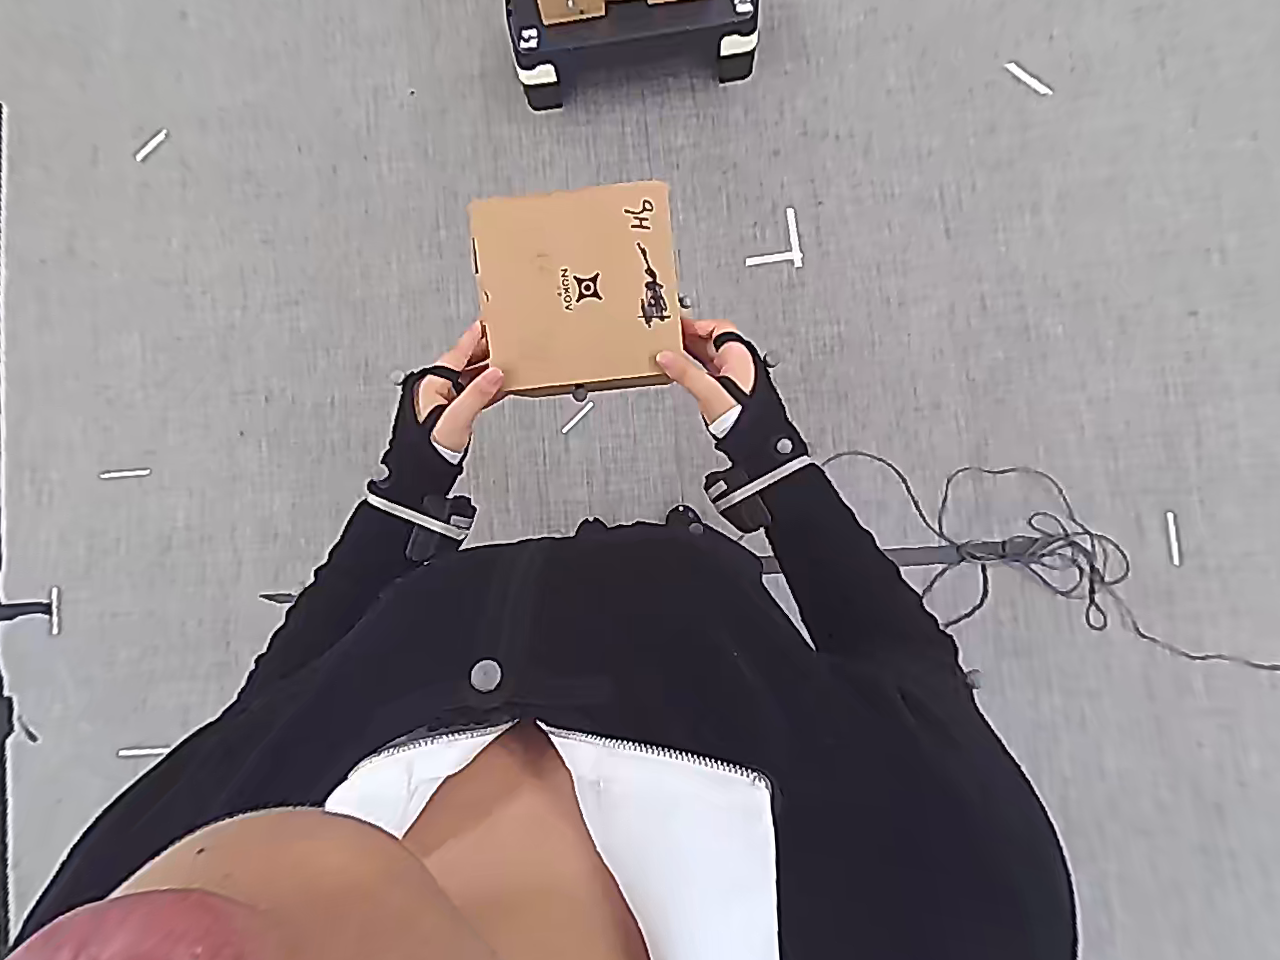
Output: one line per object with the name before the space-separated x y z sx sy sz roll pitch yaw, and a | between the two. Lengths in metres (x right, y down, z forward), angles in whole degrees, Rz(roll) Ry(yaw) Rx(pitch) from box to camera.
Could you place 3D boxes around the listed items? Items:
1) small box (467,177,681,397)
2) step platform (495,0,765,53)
small box | -0.055 -0.177 0.548 0.179 0.176 0.168 -6 96 1
step platform | -0.023 -1.259 1.287 0.684 0.204 0.286 -7 85 2
